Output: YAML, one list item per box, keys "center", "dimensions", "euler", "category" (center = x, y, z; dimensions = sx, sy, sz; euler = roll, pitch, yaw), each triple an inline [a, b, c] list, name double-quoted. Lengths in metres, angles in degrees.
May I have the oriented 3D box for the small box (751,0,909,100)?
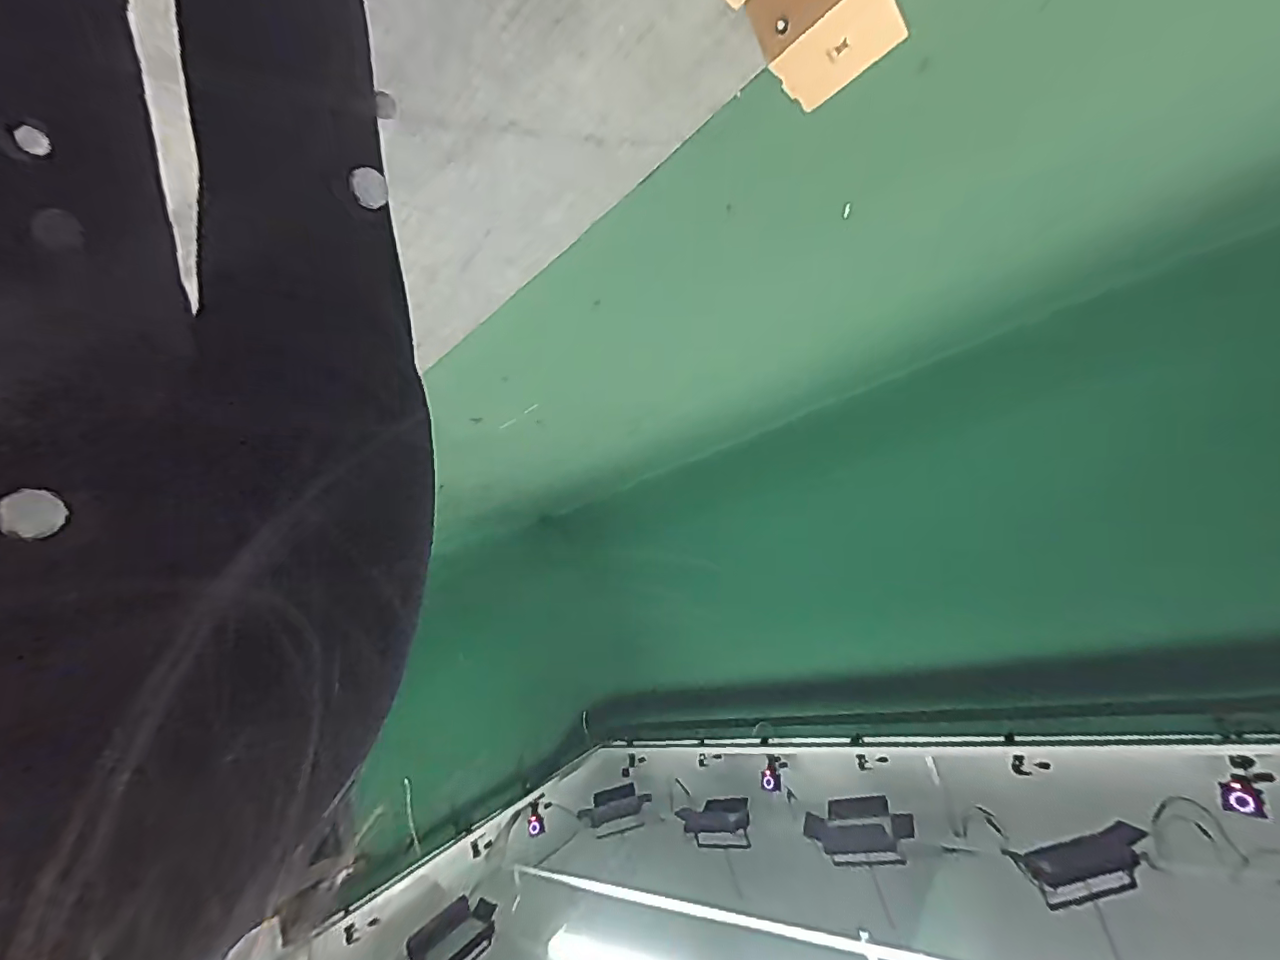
- center: [0.284, -0.760, 0.841]
  dimensions: [0.179, 0.176, 0.168]
  euler: [-22, 170, 38]
  category: "small box"
